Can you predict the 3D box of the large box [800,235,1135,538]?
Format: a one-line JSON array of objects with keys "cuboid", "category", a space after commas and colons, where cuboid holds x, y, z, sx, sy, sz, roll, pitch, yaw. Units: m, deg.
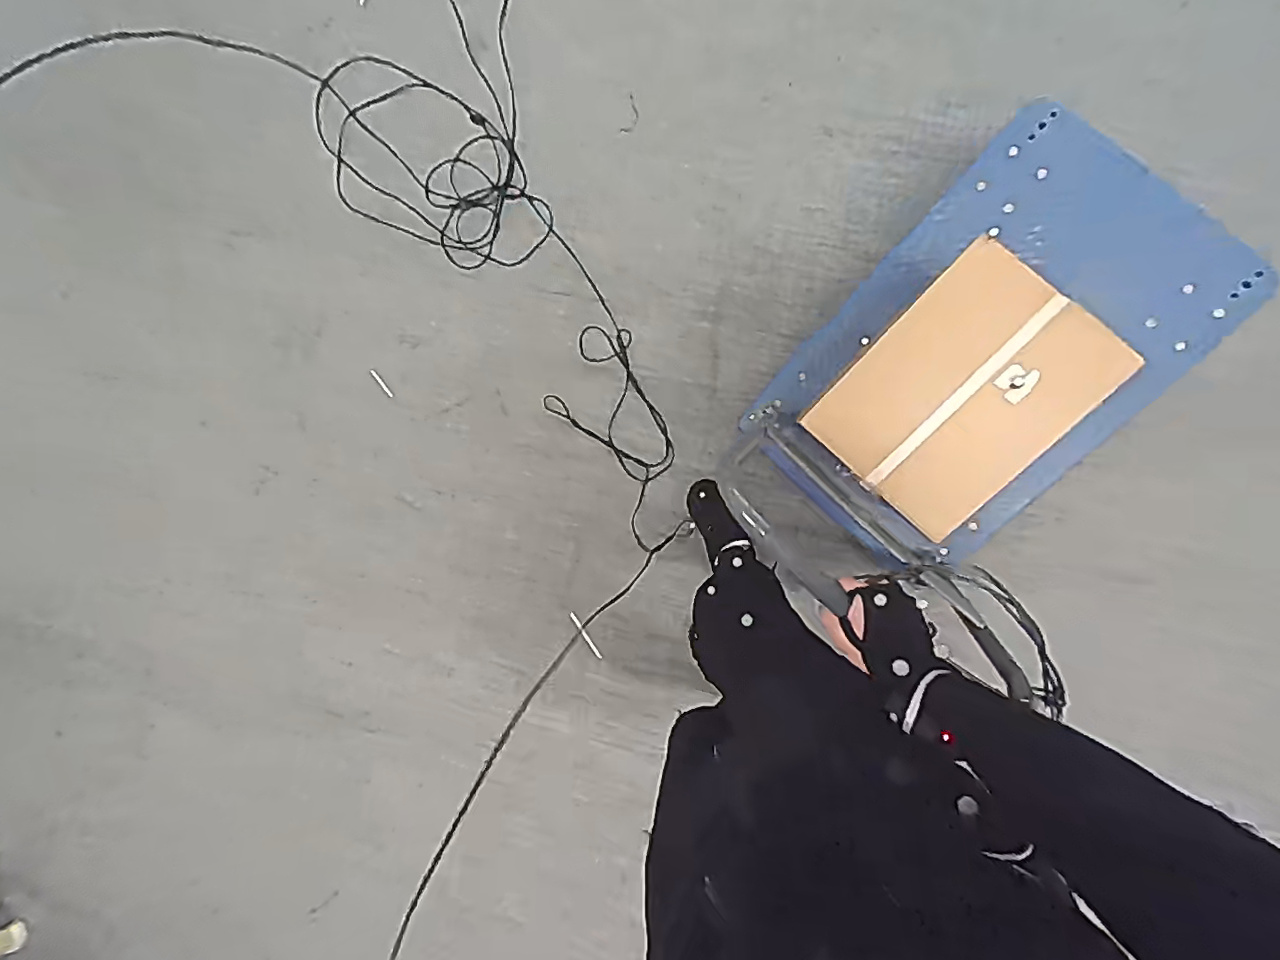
[{"cuboid": [0.559, -0.157, 1.030, 0.320, 0.320, 0.408, 44, 104, 6], "category": "large box"}]
